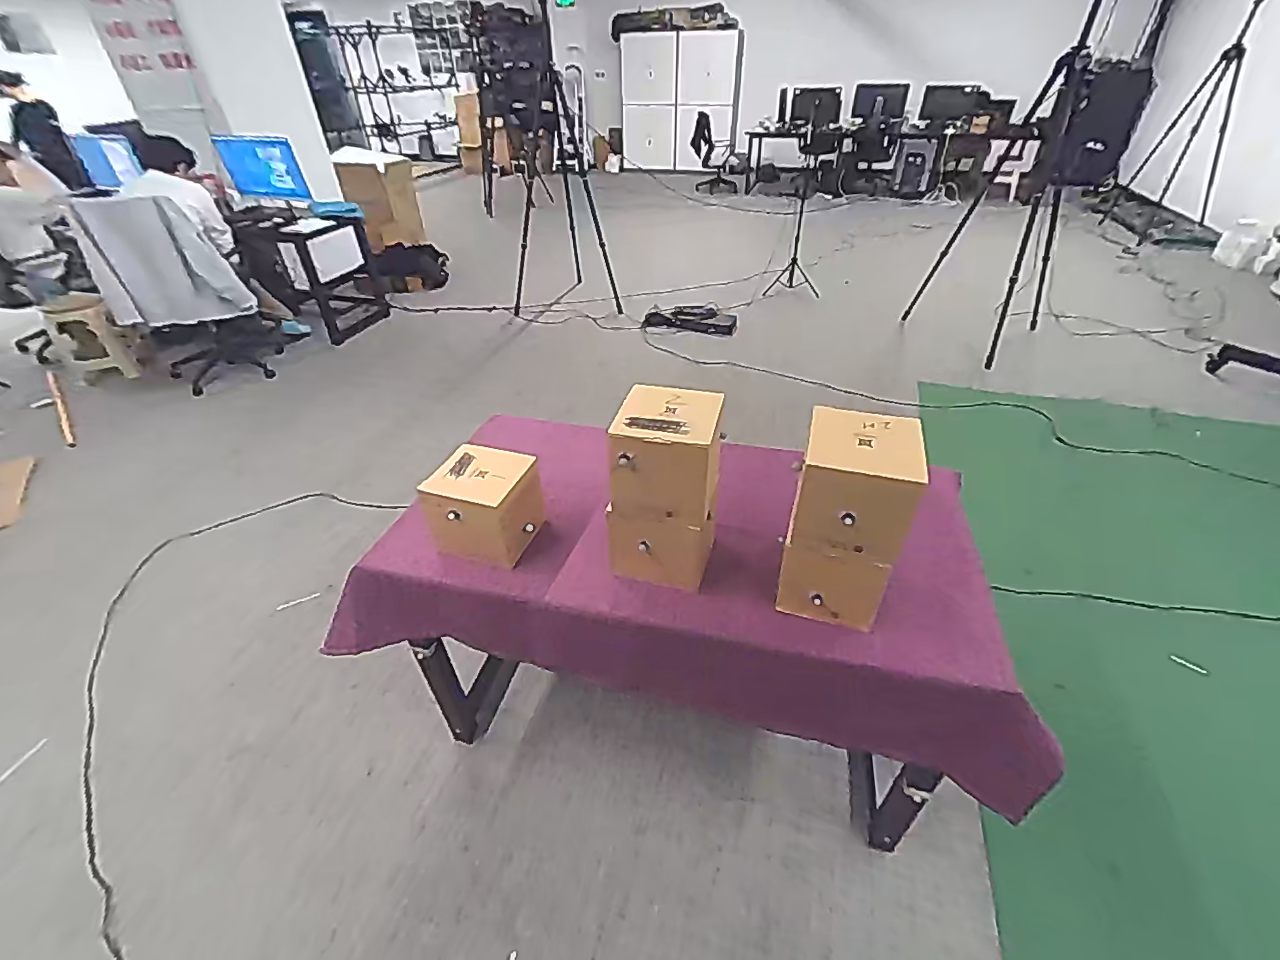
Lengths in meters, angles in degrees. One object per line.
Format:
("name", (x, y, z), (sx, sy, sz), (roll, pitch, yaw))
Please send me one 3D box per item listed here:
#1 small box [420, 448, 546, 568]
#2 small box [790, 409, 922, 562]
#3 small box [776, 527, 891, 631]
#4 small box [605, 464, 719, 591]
("small box", (-0.312, 0.057, 1.109), (0.179, 0.176, 0.168), (11, 39, 15))
("small box", (0.344, 0.008, 0.878), (0.168, 0.176, 0.179), (11, 39, 15))
("small box", (0.347, 0.138, 0.979), (0.168, 0.176, 0.179), (11, 40, 17))
("small box", (0.047, 0.092, 1.050), (0.179, 0.176, 0.168), (10, 39, 16))
